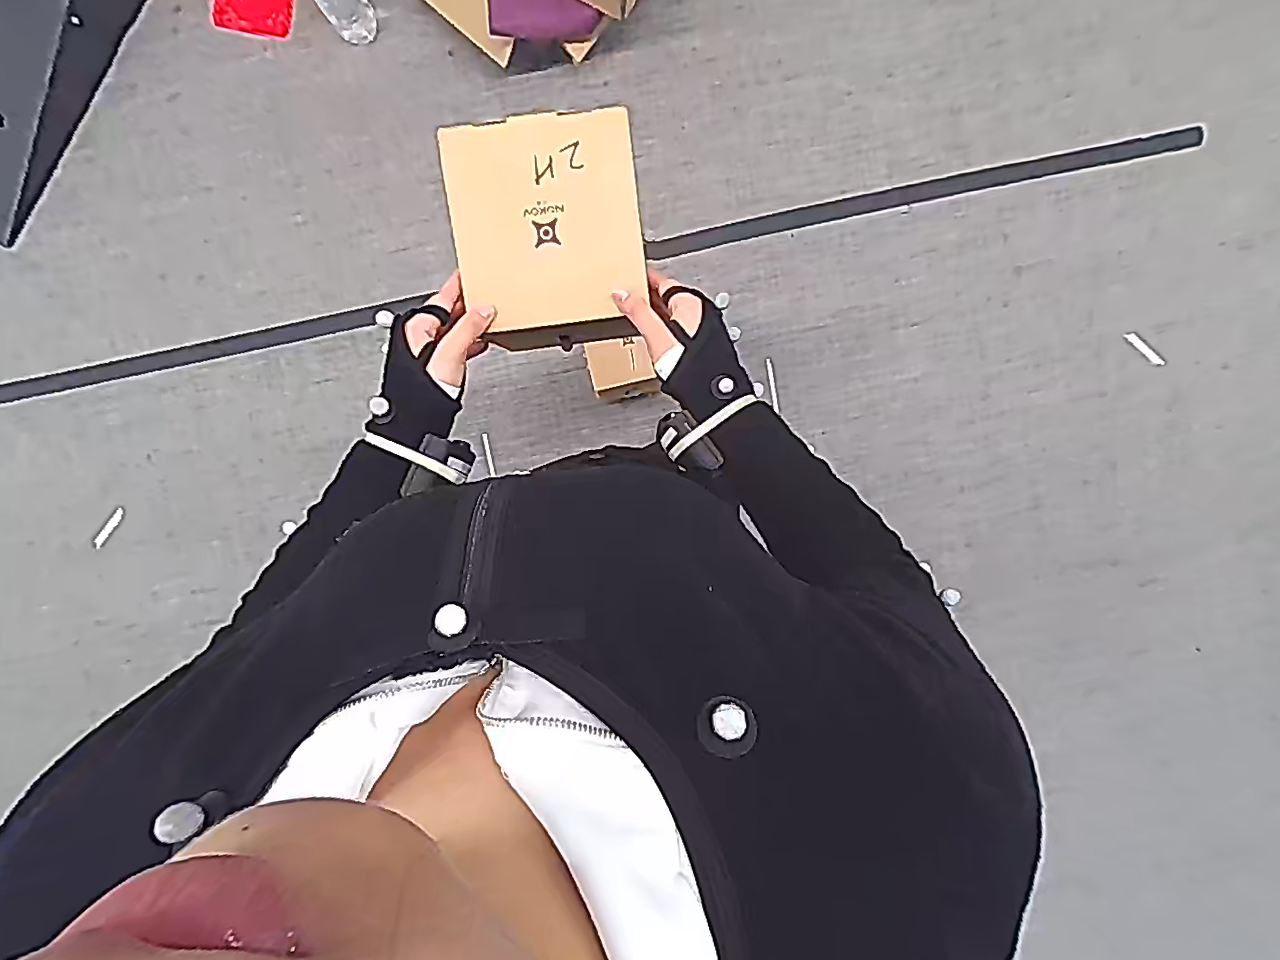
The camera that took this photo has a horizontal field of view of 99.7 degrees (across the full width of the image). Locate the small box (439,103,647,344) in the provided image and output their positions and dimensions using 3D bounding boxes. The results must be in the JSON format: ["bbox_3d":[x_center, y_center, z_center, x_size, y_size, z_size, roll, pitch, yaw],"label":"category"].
[{"bbox_3d":[-0.082,-0.238,0.552,0.168,0.176,0.179,-8,98,0],"label":"small box"}]

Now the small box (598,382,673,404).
[{"bbox_3d":[-0.027,-0.280,1.226,0.168,0.176,0.179,-13,93,1],"label":"small box"}]

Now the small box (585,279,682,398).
[{"bbox_3d":[-0.021,-0.268,1.061,0.168,0.176,0.179,-13,95,1],"label":"small box"}]
